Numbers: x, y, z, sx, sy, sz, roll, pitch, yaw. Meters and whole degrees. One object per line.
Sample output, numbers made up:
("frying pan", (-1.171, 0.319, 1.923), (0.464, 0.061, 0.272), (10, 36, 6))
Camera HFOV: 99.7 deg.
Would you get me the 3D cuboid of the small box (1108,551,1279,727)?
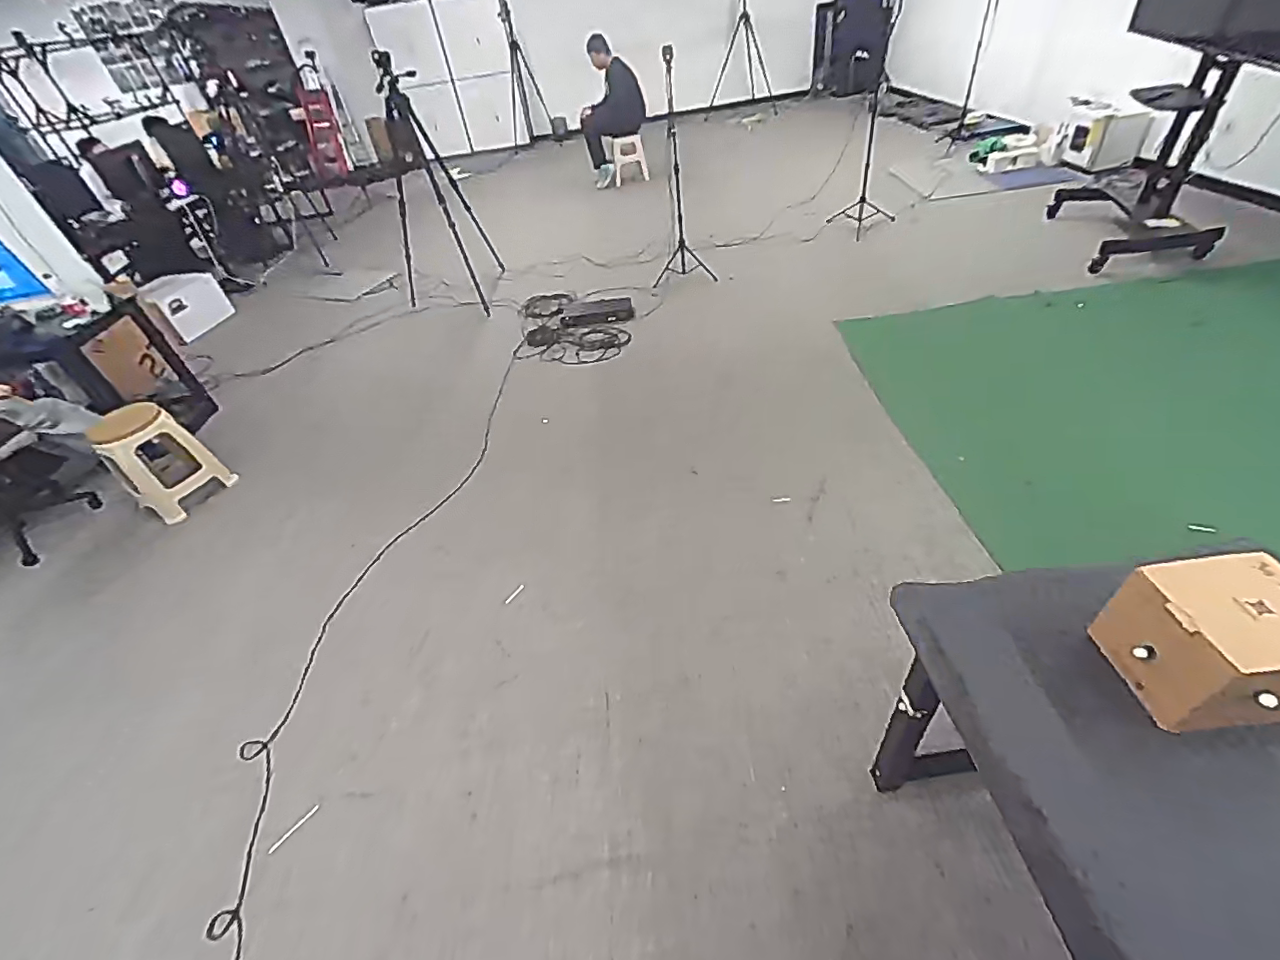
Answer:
("small box", (0.801, 0.222, 0.744), (0.179, 0.176, 0.168), (-8, 43, 3))
